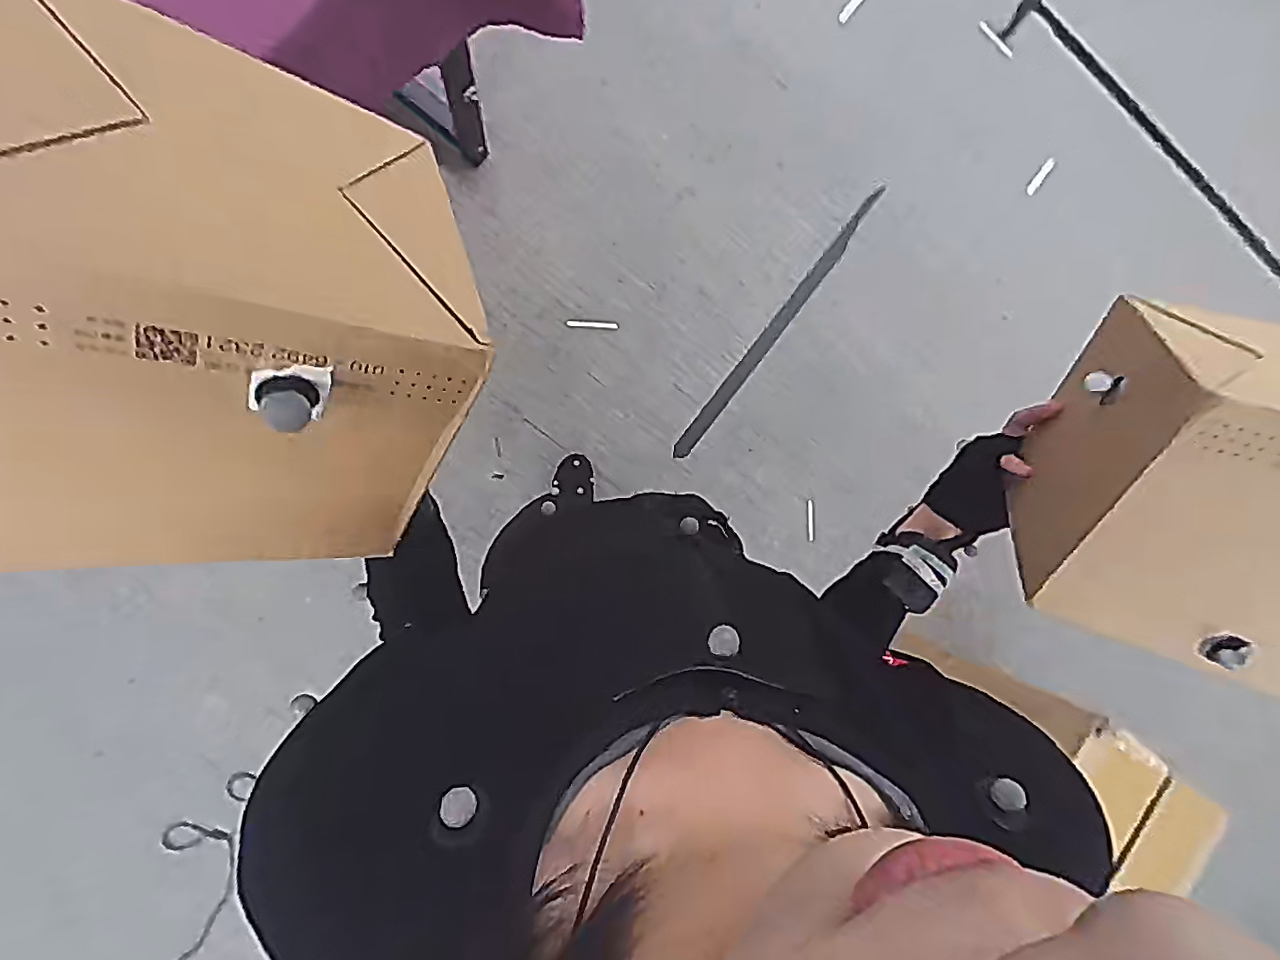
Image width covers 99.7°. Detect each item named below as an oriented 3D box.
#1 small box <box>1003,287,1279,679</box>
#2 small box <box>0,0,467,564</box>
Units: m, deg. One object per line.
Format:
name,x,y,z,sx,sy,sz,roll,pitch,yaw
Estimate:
small box,0.369,-0.011,0.348,0.168,0.179,0.176,19,132,16
small box,-0.198,-0.081,0.255,0.168,0.176,0.179,2,52,-39
